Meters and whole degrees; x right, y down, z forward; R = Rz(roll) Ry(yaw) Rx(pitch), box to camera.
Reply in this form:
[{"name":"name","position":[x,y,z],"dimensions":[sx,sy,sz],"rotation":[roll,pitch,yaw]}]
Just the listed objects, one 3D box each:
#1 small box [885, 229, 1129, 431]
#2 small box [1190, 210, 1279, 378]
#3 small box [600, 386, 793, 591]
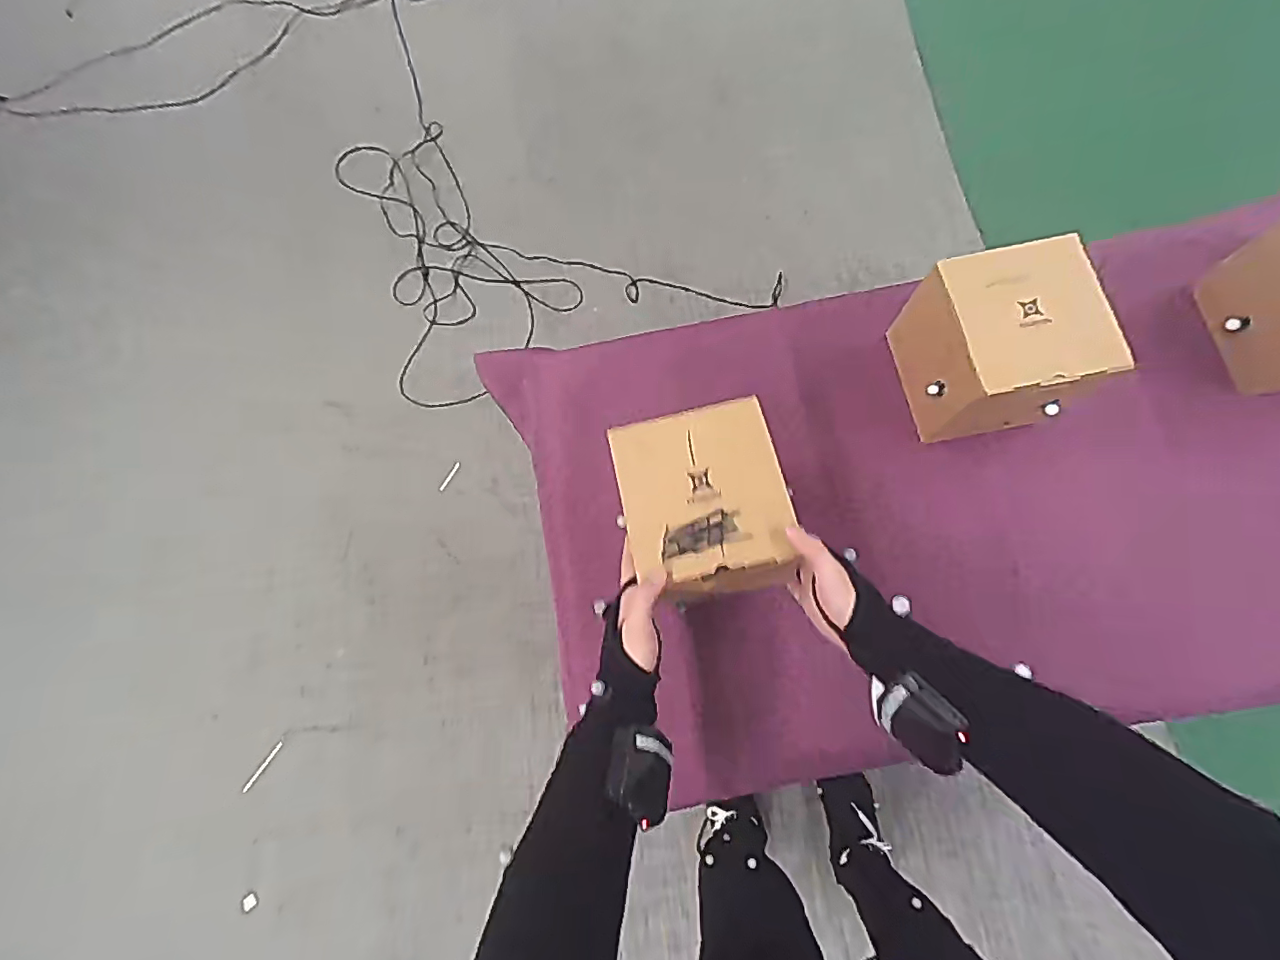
[{"name":"small box","position":[0.437,-0.172,0.679],"dimensions":[0.168,0.176,0.179],"rotation":[-11,75,2]},{"name":"small box","position":[0.848,-0.237,0.654],"dimensions":[0.168,0.176,0.179],"rotation":[-10,76,3]},{"name":"small box","position":[0.063,0.024,0.620],"dimensions":[0.168,0.176,0.179],"rotation":[-14,70,2]}]
